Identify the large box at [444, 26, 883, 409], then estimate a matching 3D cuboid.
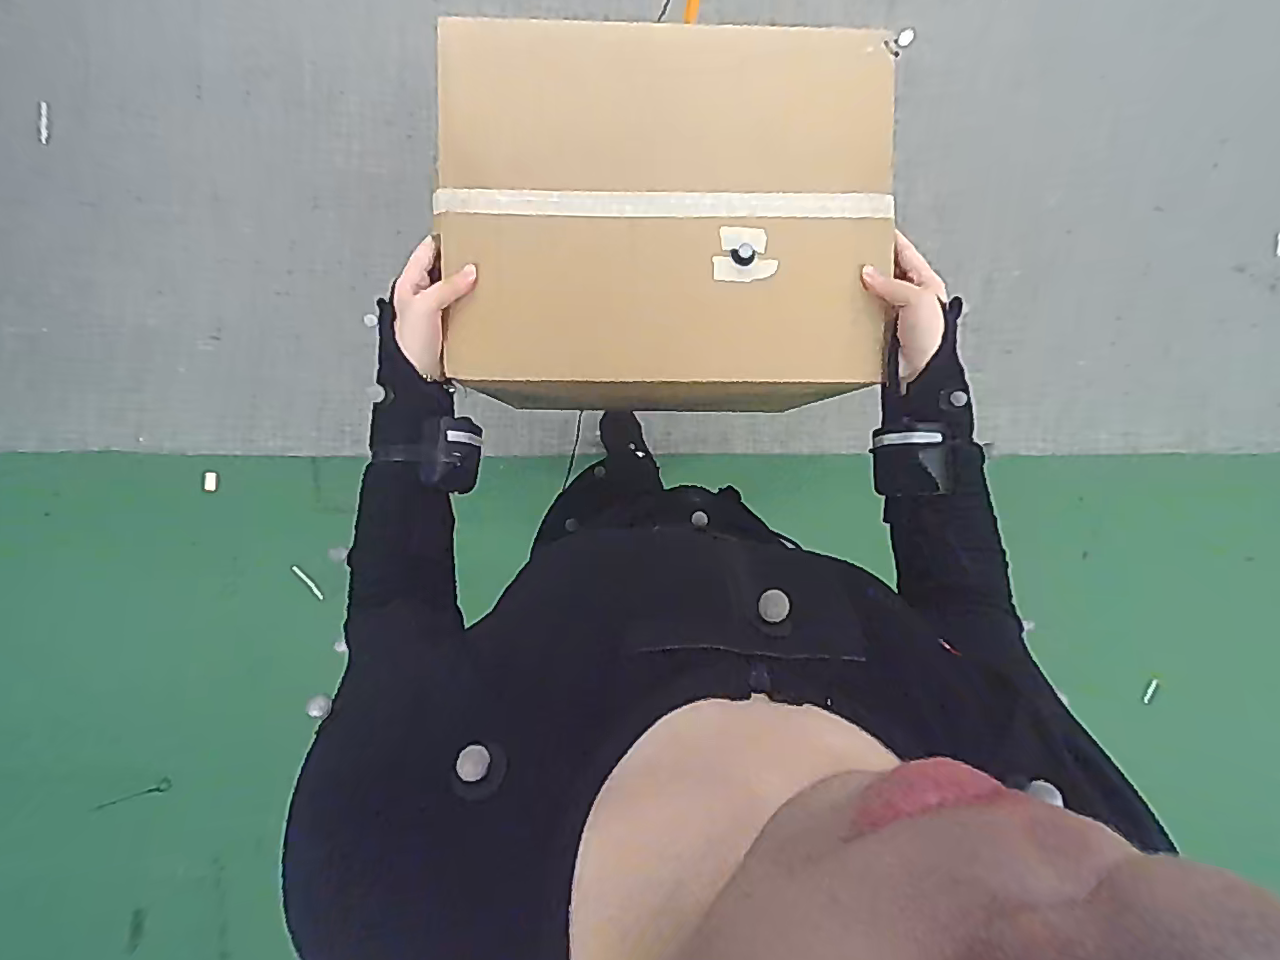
[{"bbox_3d":[0.017,-0.257,0.641,0.408,0.320,0.320,-1,93,-3],"label":"large box"}]
